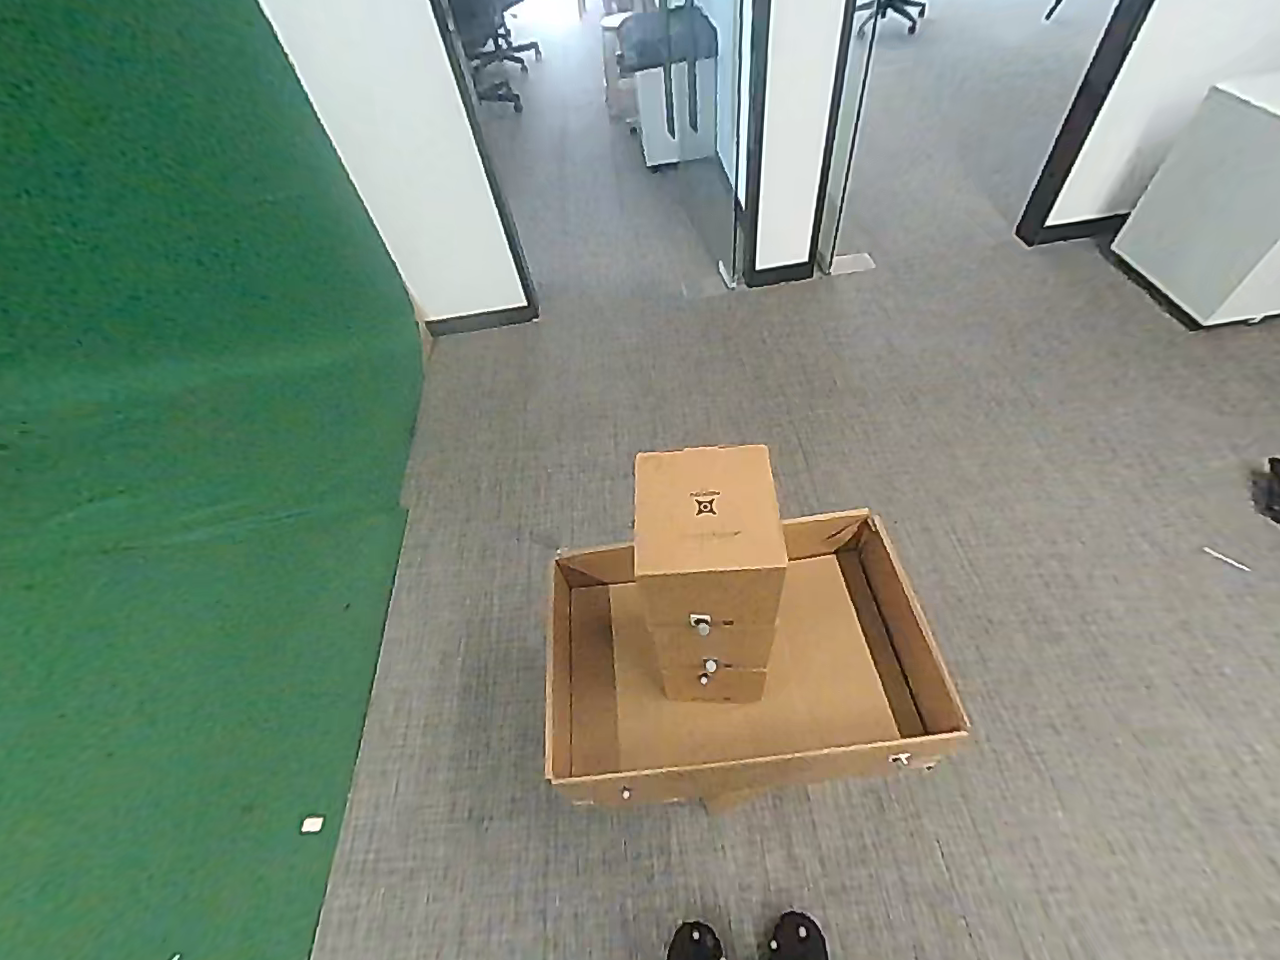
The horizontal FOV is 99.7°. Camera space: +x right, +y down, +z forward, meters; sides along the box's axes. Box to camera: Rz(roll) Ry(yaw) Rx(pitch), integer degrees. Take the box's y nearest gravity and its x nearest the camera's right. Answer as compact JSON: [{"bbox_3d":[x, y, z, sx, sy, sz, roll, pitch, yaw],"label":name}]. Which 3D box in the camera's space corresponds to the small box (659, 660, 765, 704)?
[{"bbox_3d":[0.123,0.276,0.948,0.168,0.176,0.179,-2,51,7],"label":"small box"}]

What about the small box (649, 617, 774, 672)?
[{"bbox_3d":[0.101,0.176,0.820,0.168,0.176,0.179,-3,52,5],"label":"small box"}]

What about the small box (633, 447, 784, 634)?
[{"bbox_3d":[0.081,0.080,0.692,0.168,0.176,0.179,-5,53,5],"label":"small box"}]
